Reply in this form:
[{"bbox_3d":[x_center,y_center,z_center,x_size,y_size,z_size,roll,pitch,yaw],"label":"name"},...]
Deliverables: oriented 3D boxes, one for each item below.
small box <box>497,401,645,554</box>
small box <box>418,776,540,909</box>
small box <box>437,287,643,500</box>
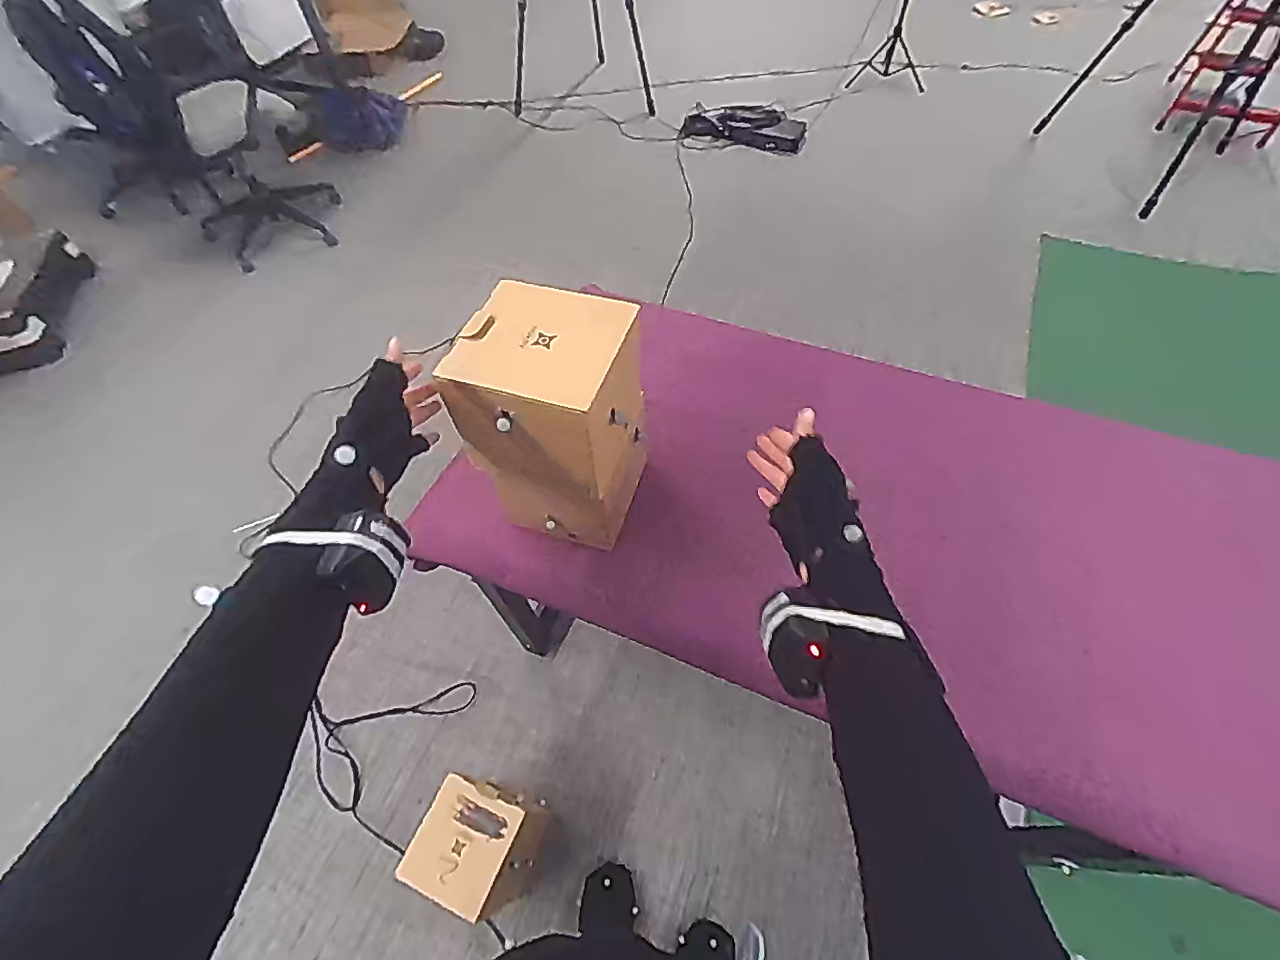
[{"bbox_3d":[-0.098,-0.021,0.794,0.168,0.176,0.179,15,57,11],"label":"small box"},{"bbox_3d":[-0.329,0.764,1.150,0.168,0.176,0.179,20,60,15],"label":"small box"},{"bbox_3d":[-0.102,-0.097,0.649,0.179,0.176,0.168,15,58,11],"label":"small box"}]
